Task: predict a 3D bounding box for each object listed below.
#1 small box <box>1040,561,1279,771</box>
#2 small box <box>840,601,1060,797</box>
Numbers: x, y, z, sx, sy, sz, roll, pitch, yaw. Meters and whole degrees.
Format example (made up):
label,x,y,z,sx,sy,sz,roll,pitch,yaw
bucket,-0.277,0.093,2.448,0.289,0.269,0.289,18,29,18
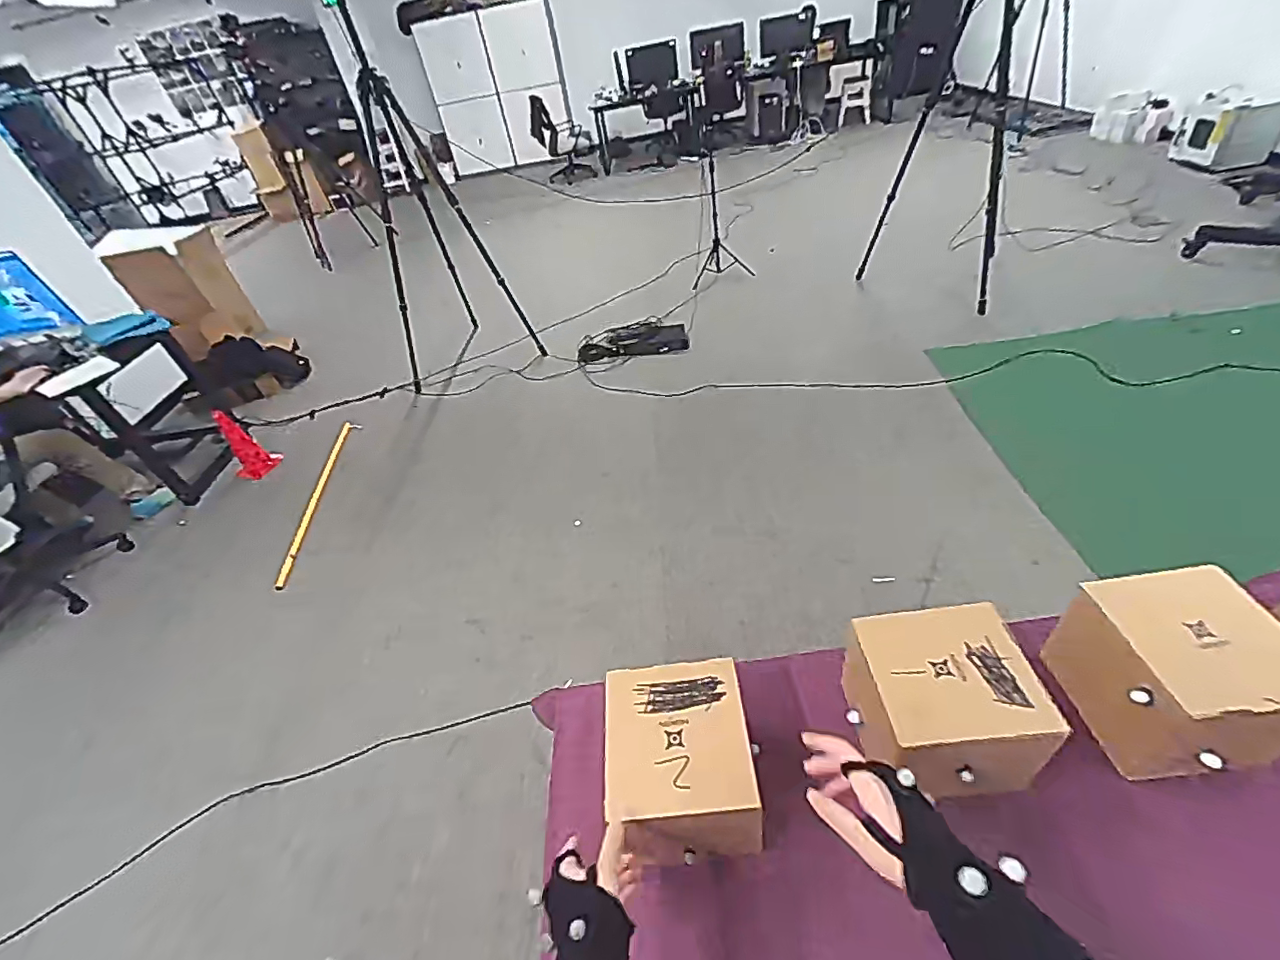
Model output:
label,x,y,z,sx,sy,sz,roll,pitch,yaw
small box,0.645,0.229,0.667,0.168,0.176,0.179,-10,42,4
small box,0.368,0.278,0.683,0.179,0.176,0.168,-10,40,6
